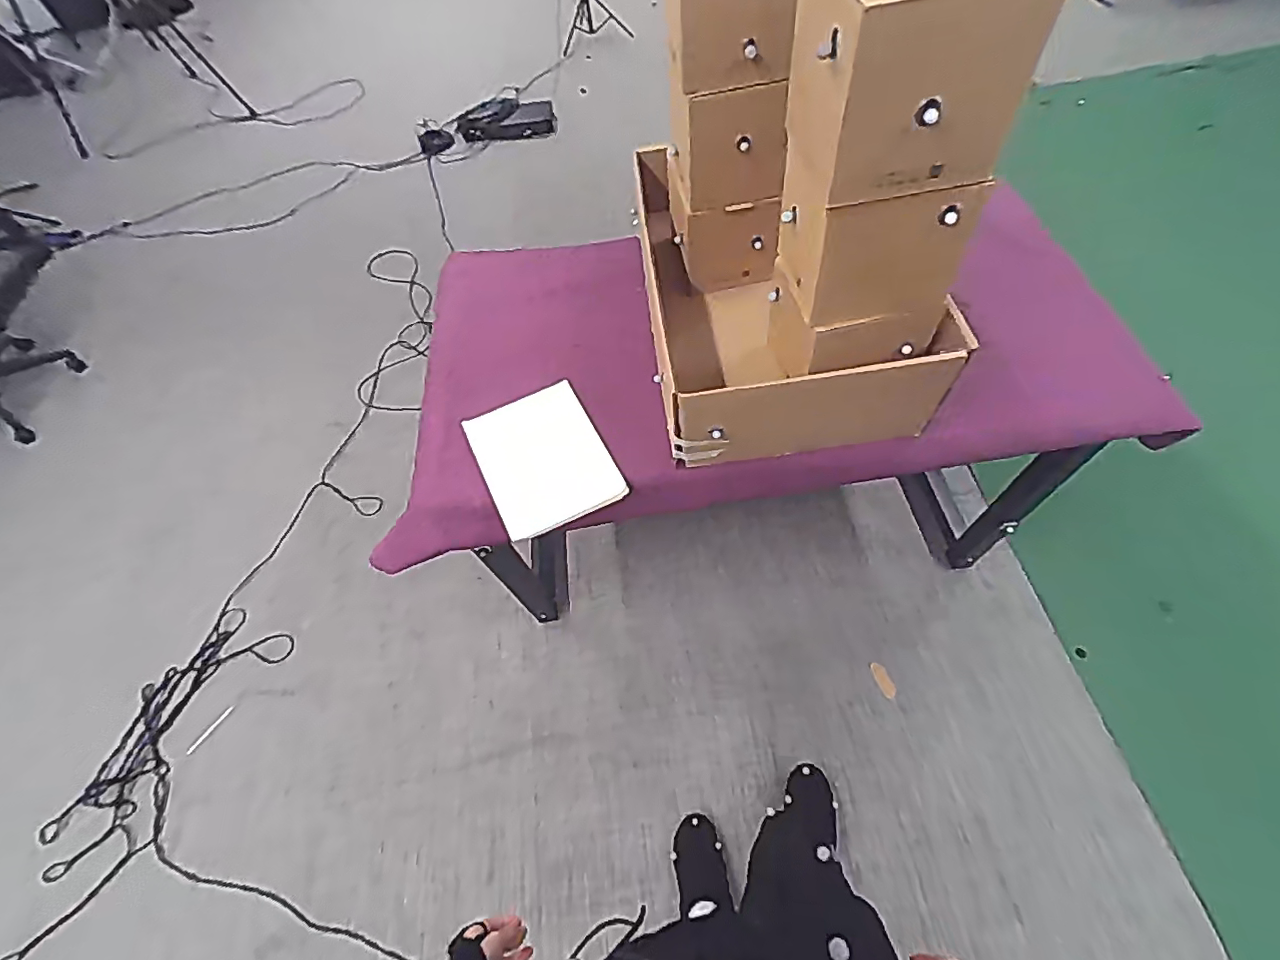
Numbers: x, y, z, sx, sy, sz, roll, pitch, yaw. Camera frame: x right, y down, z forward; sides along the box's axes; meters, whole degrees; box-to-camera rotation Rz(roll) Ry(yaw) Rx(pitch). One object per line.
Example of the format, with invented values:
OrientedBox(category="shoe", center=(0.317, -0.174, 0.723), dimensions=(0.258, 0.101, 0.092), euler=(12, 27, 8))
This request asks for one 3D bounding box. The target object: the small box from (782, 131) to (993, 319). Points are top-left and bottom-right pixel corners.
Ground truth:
OrientedBox(category="small box", center=(0.281, -0.320, 0.667), dimensions=(0.179, 0.176, 0.168), euler=(-8, 57, 2))

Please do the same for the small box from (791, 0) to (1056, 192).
OrientedBox(category="small box", center=(0.256, -0.405, 0.528), dimensions=(0.168, 0.176, 0.179), euler=(-8, 57, 2))

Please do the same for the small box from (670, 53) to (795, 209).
OrientedBox(category="small box", center=(0.145, -0.545, 0.821), dimensions=(0.179, 0.176, 0.168), euler=(-10, 60, 1))

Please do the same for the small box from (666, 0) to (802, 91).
OrientedBox(category="small box", center=(0.127, -0.630, 0.682), dimensions=(0.179, 0.176, 0.168), euler=(-8, 60, 1))
